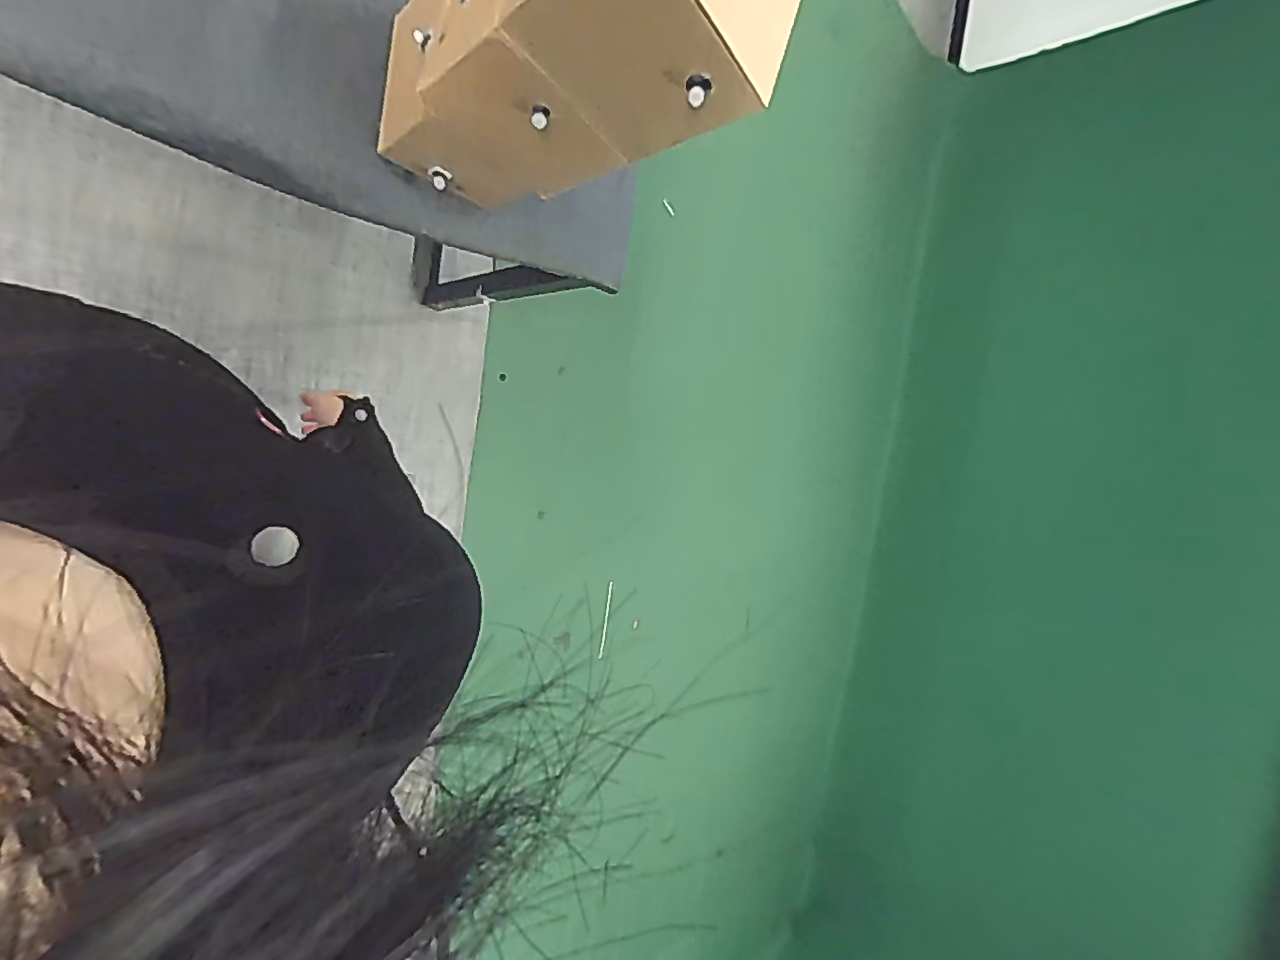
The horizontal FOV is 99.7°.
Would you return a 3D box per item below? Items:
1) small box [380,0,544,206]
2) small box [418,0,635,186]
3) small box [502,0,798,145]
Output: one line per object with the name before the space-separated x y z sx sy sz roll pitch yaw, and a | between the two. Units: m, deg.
small box | -0.212 -0.483 0.688 0.168 0.176 0.179 6 94 -44
small box | -0.101 -0.445 0.574 0.179 0.176 0.168 21 83 -44
small box | 0.016 -0.424 0.460 0.179 0.176 0.168 23 81 -44
